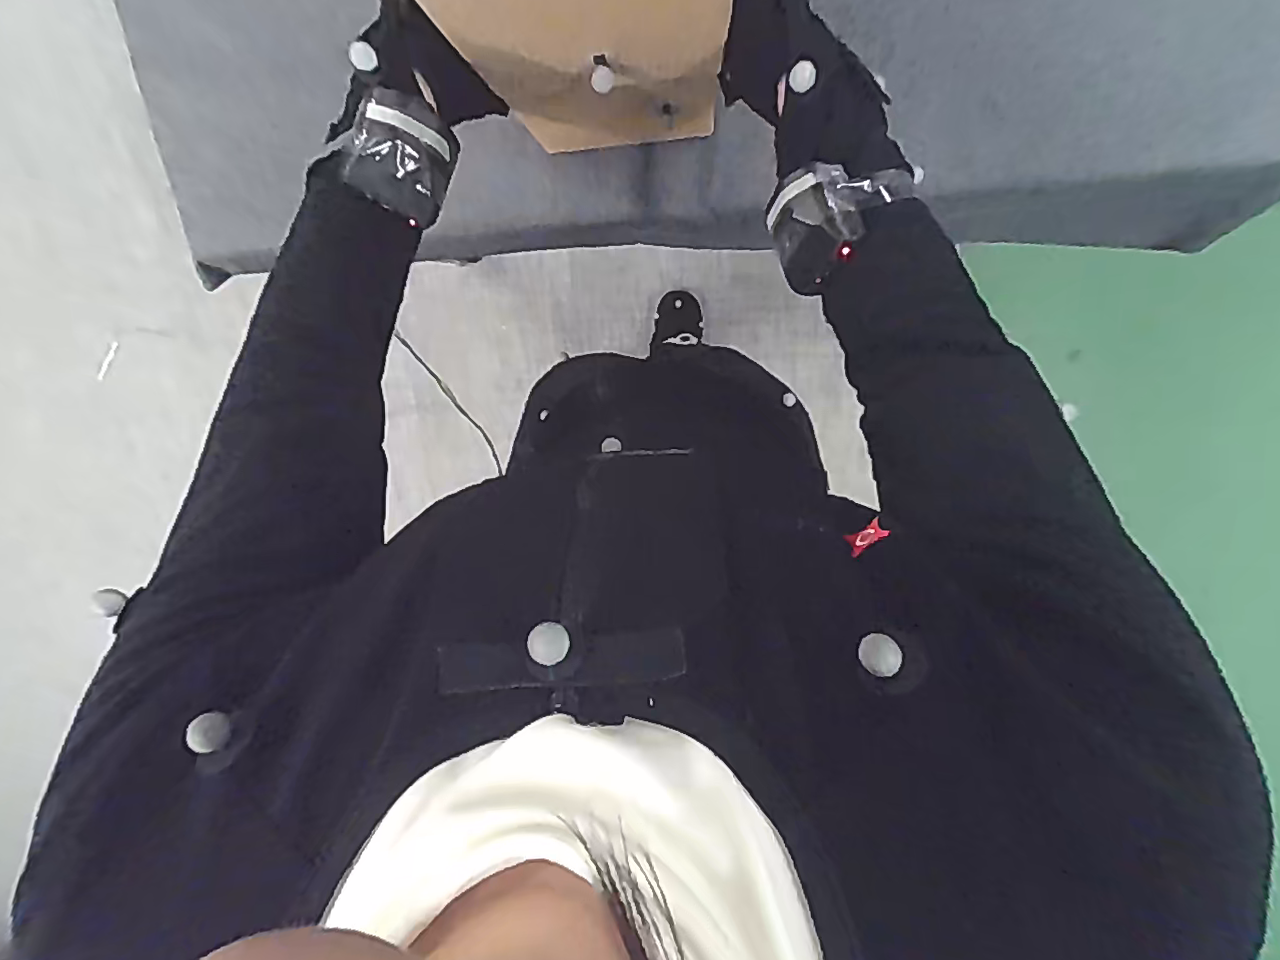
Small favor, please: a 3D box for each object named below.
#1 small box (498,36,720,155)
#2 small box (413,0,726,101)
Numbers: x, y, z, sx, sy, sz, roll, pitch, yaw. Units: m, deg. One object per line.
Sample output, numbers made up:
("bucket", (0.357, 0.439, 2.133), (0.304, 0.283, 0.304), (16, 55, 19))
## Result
("small box", (-0.024, -0.405, 0.472), (0.179, 0.176, 0.168), (-2, 106, 8))
("small box", (-0.037, -0.354, 0.317), (0.179, 0.176, 0.168), (-3, 105, 6))
